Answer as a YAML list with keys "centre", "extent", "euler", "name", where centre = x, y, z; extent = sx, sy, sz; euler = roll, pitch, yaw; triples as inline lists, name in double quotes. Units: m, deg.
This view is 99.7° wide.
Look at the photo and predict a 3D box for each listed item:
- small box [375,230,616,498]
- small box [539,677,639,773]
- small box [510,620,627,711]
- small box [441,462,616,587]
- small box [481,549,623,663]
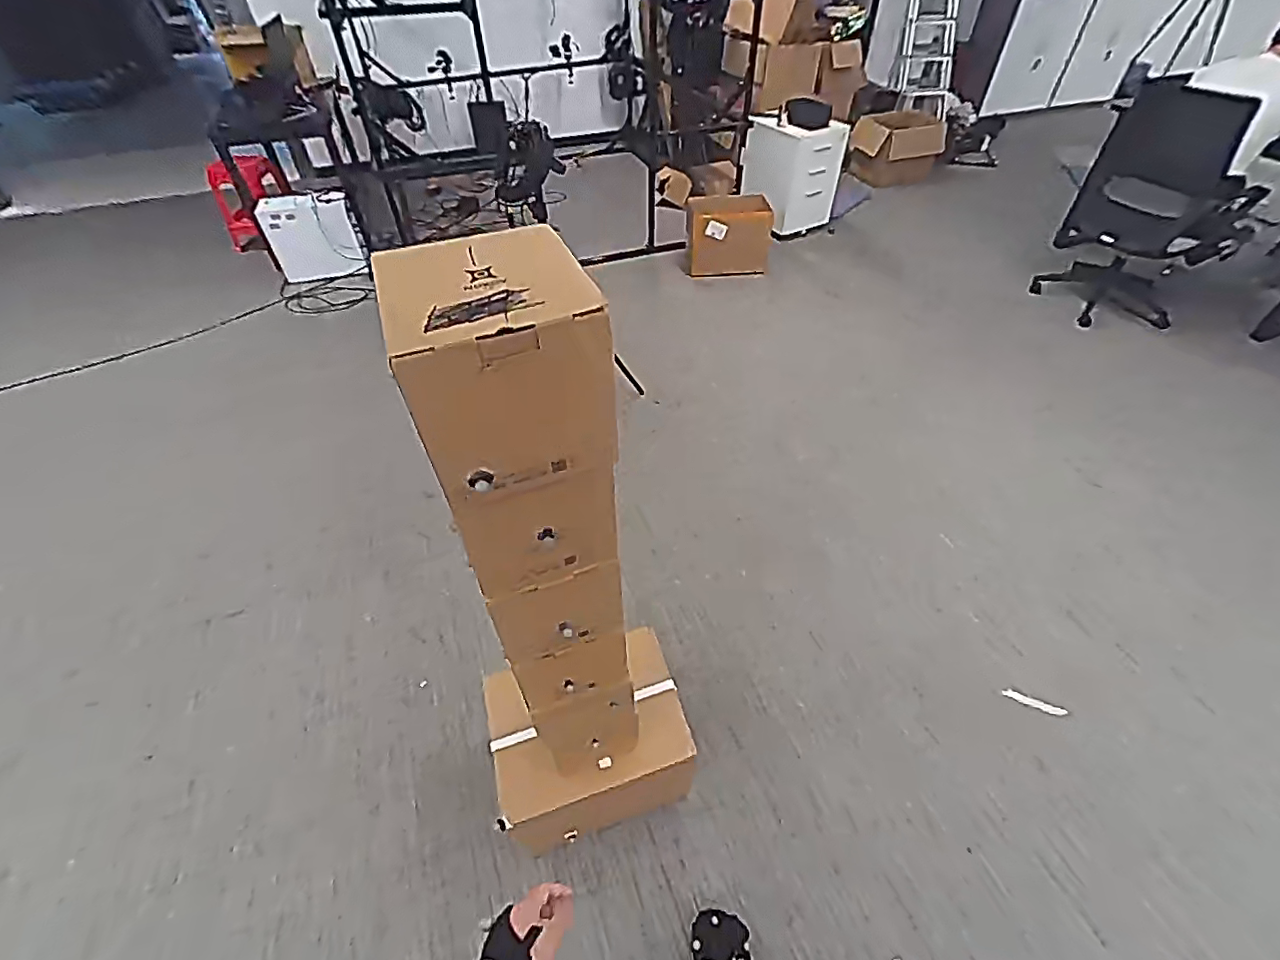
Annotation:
- centre: [-0.127, -0.103, 0.504]
  extent: [0.168, 0.176, 0.179]
  euler: [-17, 49, -15]
  name: "small box"
- centre: [-0.109, 0.463, 1.096]
  extent: [0.179, 0.176, 0.168]
  euler: [-16, 49, -14]
  name: "small box"
- centre: [-0.124, 0.234, 0.865]
  extent: [0.168, 0.176, 0.179]
  euler: [-16, 49, -14]
  name: "small box"
- centre: [-0.132, 0.003, 0.631]
  extent: [0.168, 0.176, 0.179]
  euler: [-17, 50, -15]
  name: "small box"
- centre: [-0.129, 0.119, 0.747]
  extent: [0.168, 0.176, 0.179]
  euler: [-17, 50, -14]
  name: "small box"
